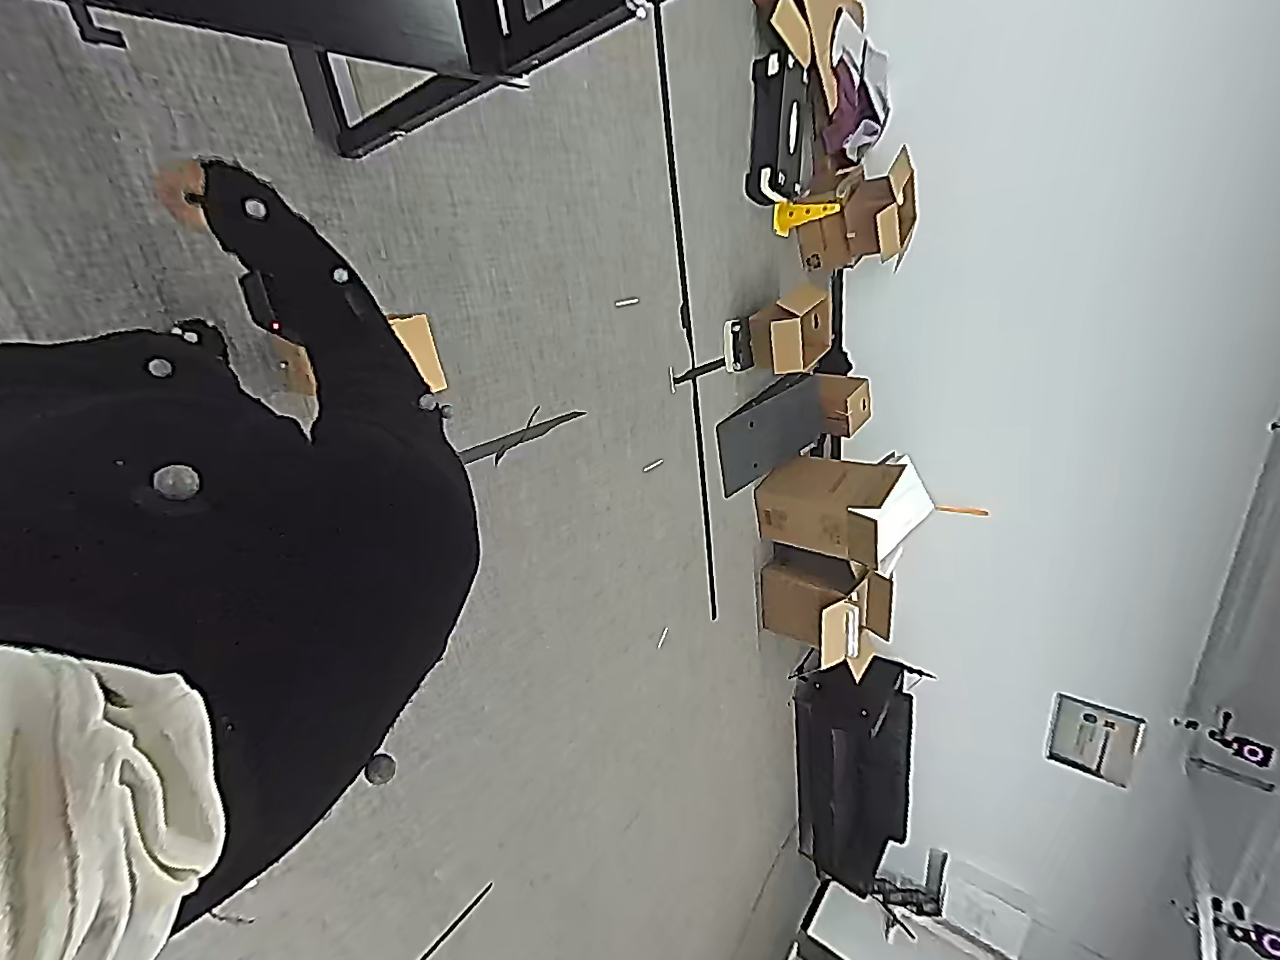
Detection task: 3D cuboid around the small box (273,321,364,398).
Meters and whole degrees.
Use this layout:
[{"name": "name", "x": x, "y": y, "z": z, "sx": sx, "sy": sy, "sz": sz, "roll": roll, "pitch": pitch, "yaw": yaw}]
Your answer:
[{"name": "small box", "x": -0.828, "y": -0.324, "z": 1.436, "sx": 0.179, "sy": 0.176, "sz": 0.168, "roll": -31, "pitch": 121, "yaw": -42}]

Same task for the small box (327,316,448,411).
[{"name": "small box", "x": -0.575, "y": -0.271, "z": 1.236, "sx": 0.168, "sy": 0.176, "sz": 0.179, "roll": -33, "pitch": 123, "yaw": -41}]
